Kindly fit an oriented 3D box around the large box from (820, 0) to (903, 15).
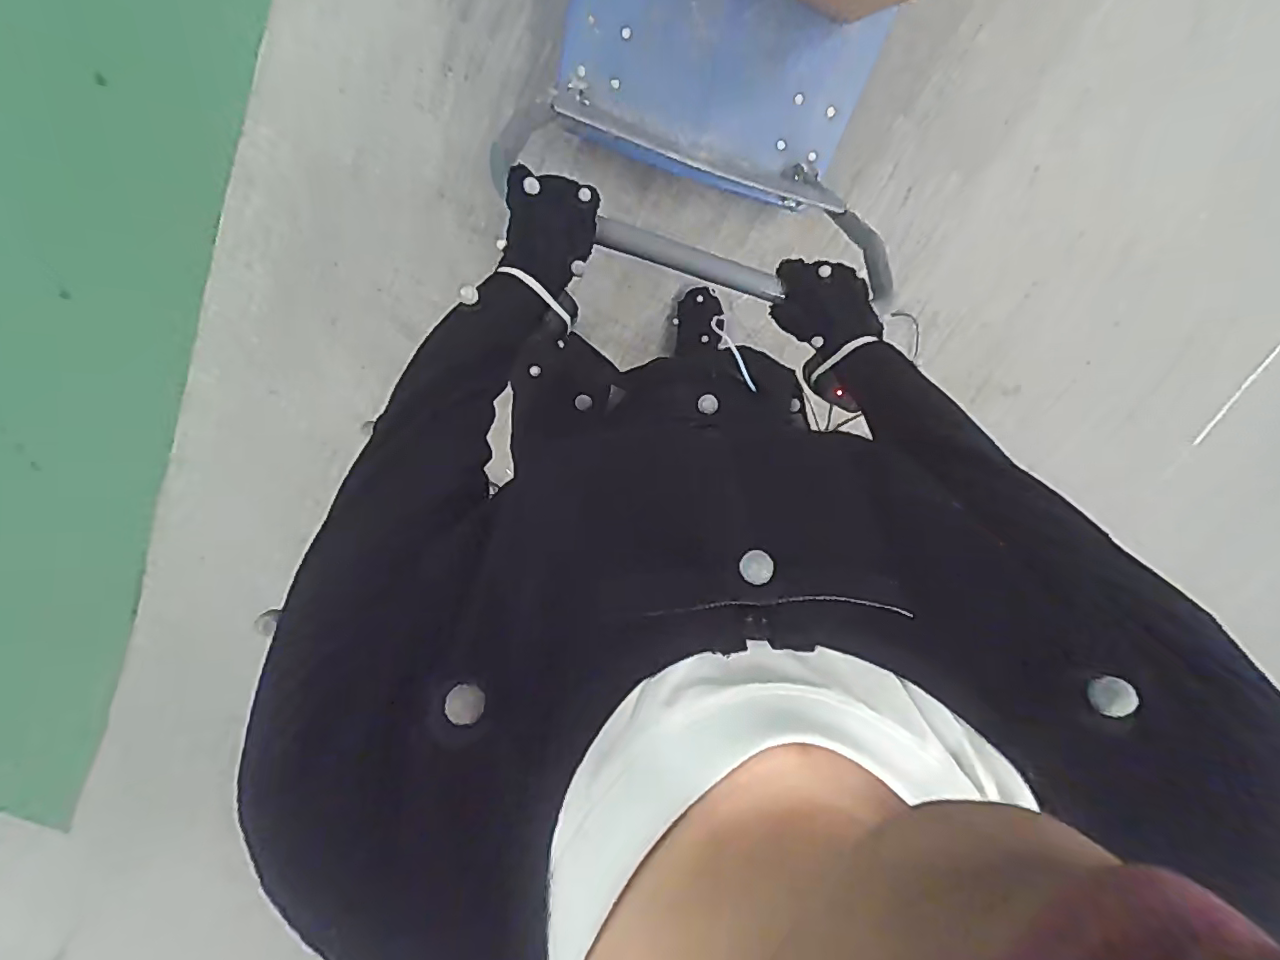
[{"bbox_3d":[0.254,-0.925,0.748,0.408,0.320,0.320,20,125,-10],"label":"large box"}]
